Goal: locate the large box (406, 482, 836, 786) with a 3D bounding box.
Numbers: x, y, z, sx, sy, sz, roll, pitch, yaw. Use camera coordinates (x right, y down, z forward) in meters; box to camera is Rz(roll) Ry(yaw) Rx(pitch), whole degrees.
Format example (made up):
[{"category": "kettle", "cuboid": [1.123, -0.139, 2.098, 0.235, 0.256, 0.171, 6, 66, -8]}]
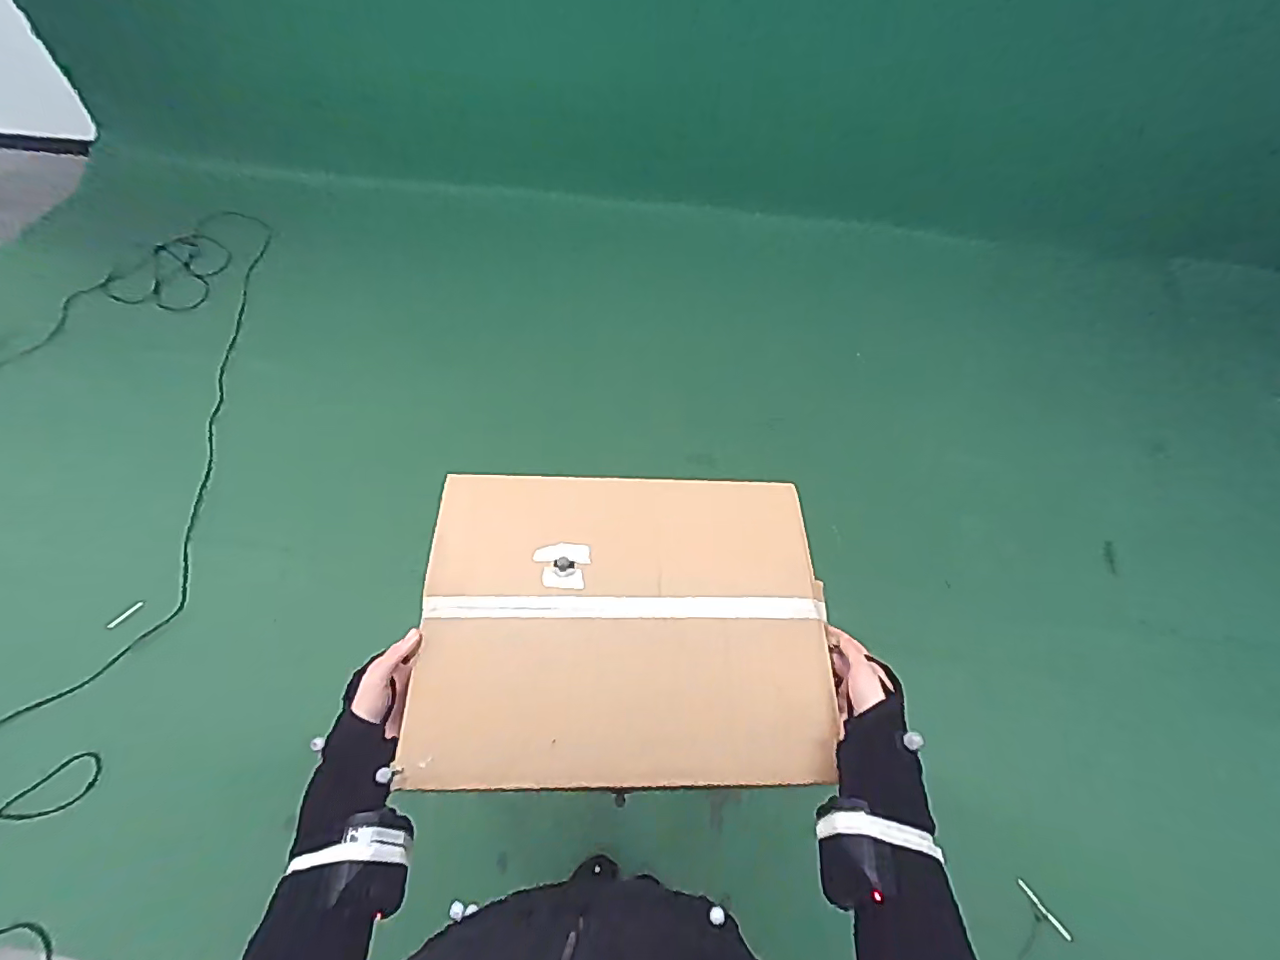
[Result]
[{"category": "large box", "cuboid": [-0.022, 0.209, 0.695, 0.408, 0.320, 0.320, 1, 60, -3]}]
